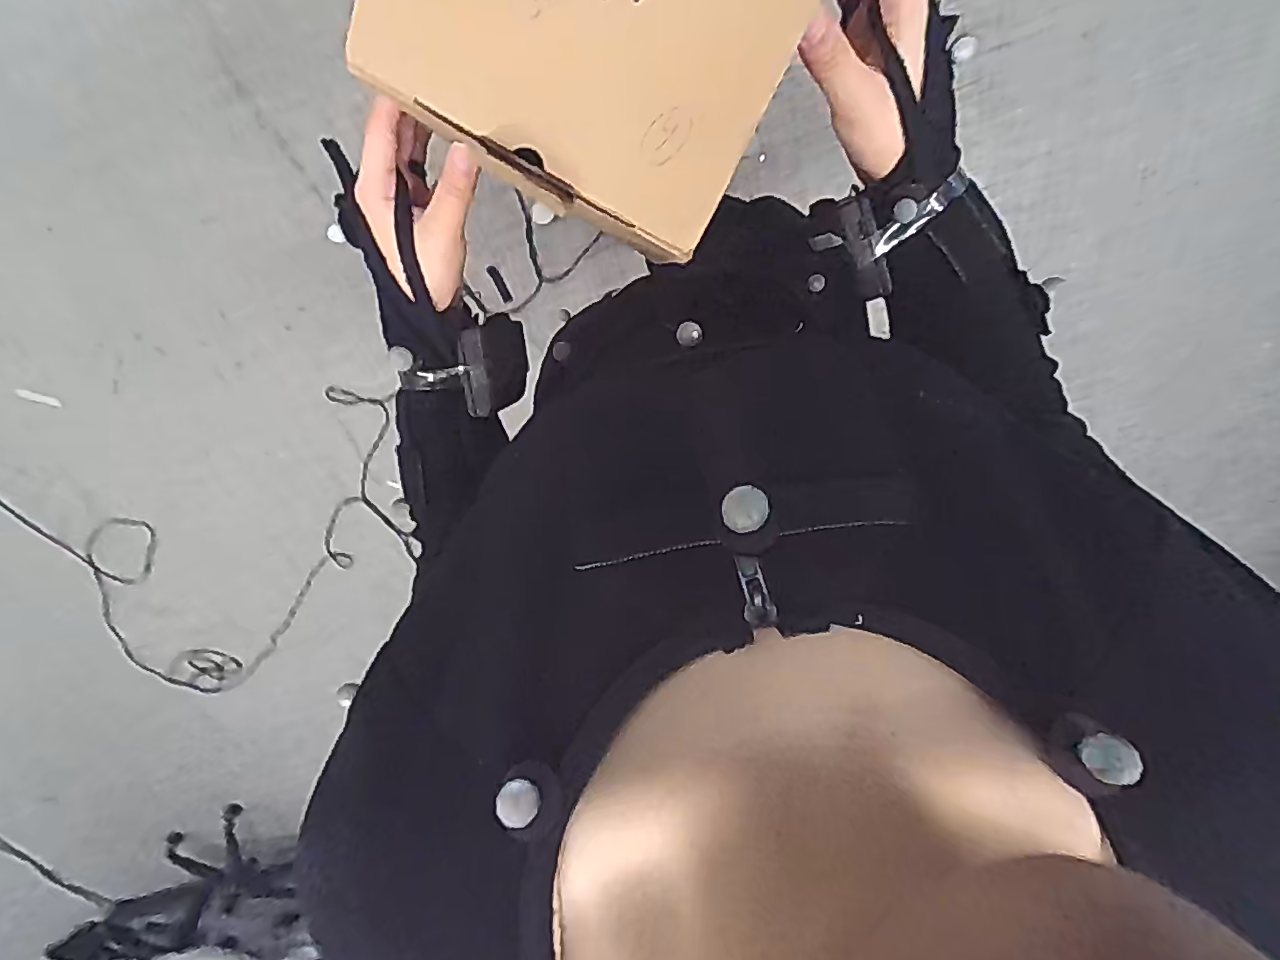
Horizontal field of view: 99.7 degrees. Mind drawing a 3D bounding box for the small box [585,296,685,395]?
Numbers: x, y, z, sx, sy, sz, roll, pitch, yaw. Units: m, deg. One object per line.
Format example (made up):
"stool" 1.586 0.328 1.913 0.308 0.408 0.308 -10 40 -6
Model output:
"small box" -0.013 -0.303 1.231 0.179 0.176 0.168 22 101 9
